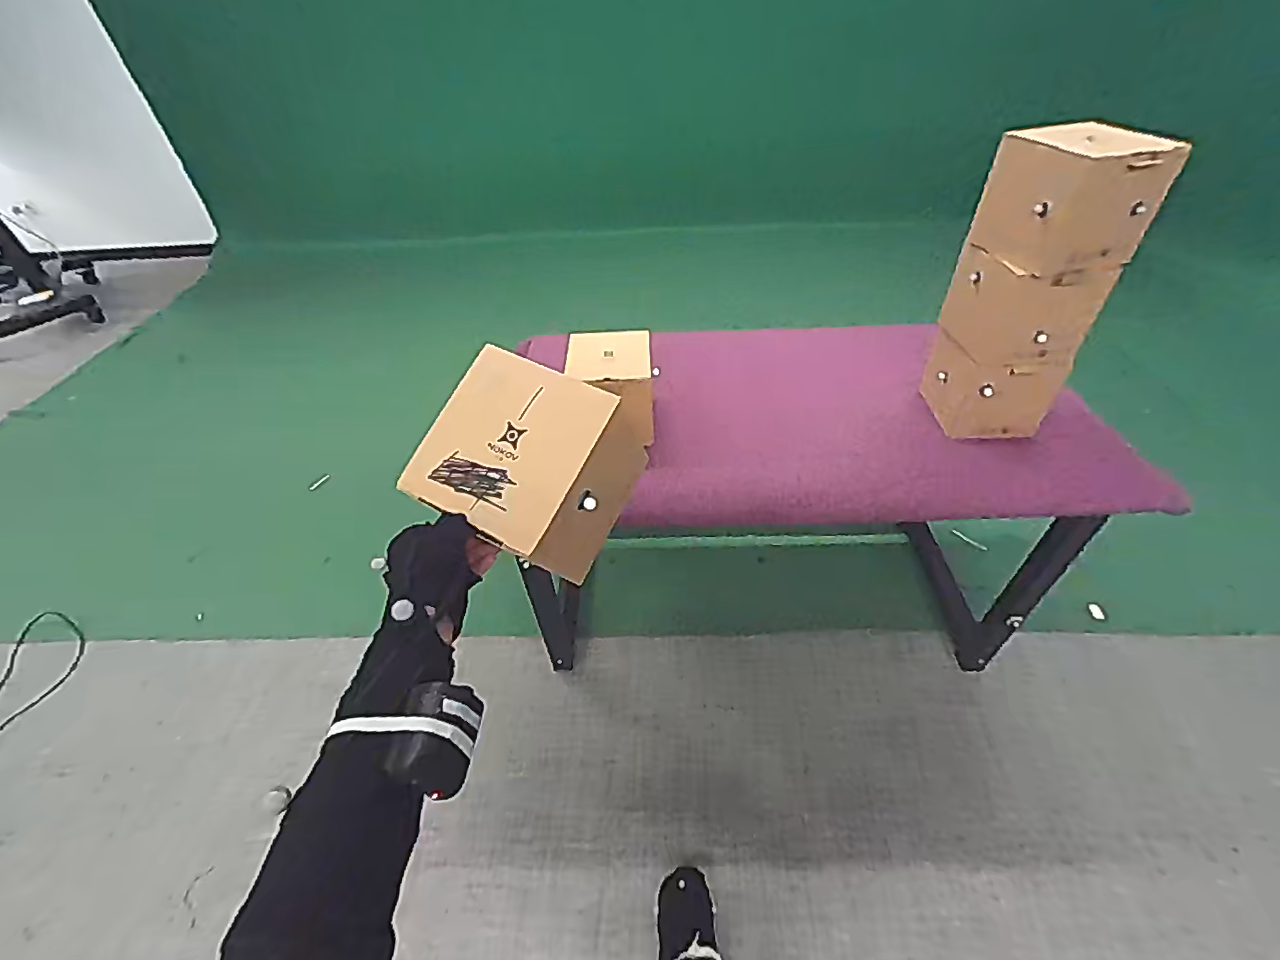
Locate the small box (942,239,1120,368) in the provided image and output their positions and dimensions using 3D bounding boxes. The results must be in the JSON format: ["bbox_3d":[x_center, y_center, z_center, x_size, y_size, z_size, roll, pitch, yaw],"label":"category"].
[{"bbox_3d":[0.674,-0.319,0.965,0.168,0.176,0.179,-4,44,1],"label":"small box"}]

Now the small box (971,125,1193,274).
[{"bbox_3d":[0.673,-0.436,0.851,0.168,0.176,0.179,-11,44,-8],"label":"small box"}]

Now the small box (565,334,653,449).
[{"bbox_3d":[-0.058,-0.183,1.115,0.168,0.176,0.179,-2,46,1],"label":"small box"}]

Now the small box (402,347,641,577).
[{"bbox_3d":[-0.113,-0.009,0.601,0.168,0.176,0.179,25,77,17],"label":"small box"}]
